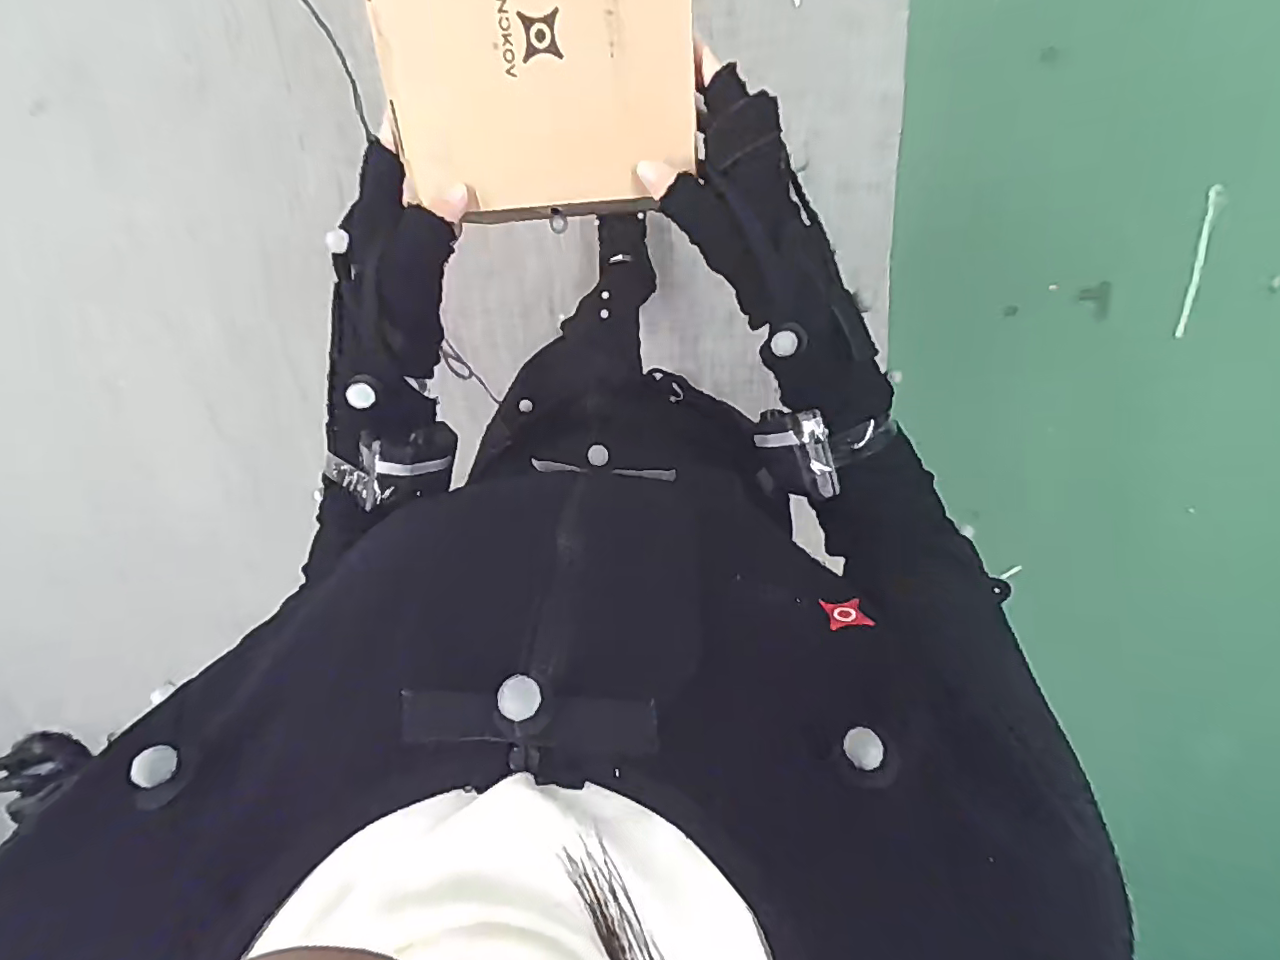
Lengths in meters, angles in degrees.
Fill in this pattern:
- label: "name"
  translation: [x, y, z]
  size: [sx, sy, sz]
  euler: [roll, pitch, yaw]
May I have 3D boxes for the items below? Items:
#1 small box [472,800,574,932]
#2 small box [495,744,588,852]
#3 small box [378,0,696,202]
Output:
- label: "small box"
  translation: [-0.242, 0.821, 1.163]
  size: [0.168, 0.176, 0.179]
  euler: [-4, 107, 5]
- label: "small box"
  translation: [-0.233, 0.771, 1.318]
  size: [0.179, 0.176, 0.168]
  euler: [-4, 107, 4]
- label: "small box"
  translation: [-0.058, -0.293, 0.372]
  size: [0.179, 0.176, 0.168]
  euler: [-5, 115, 1]
